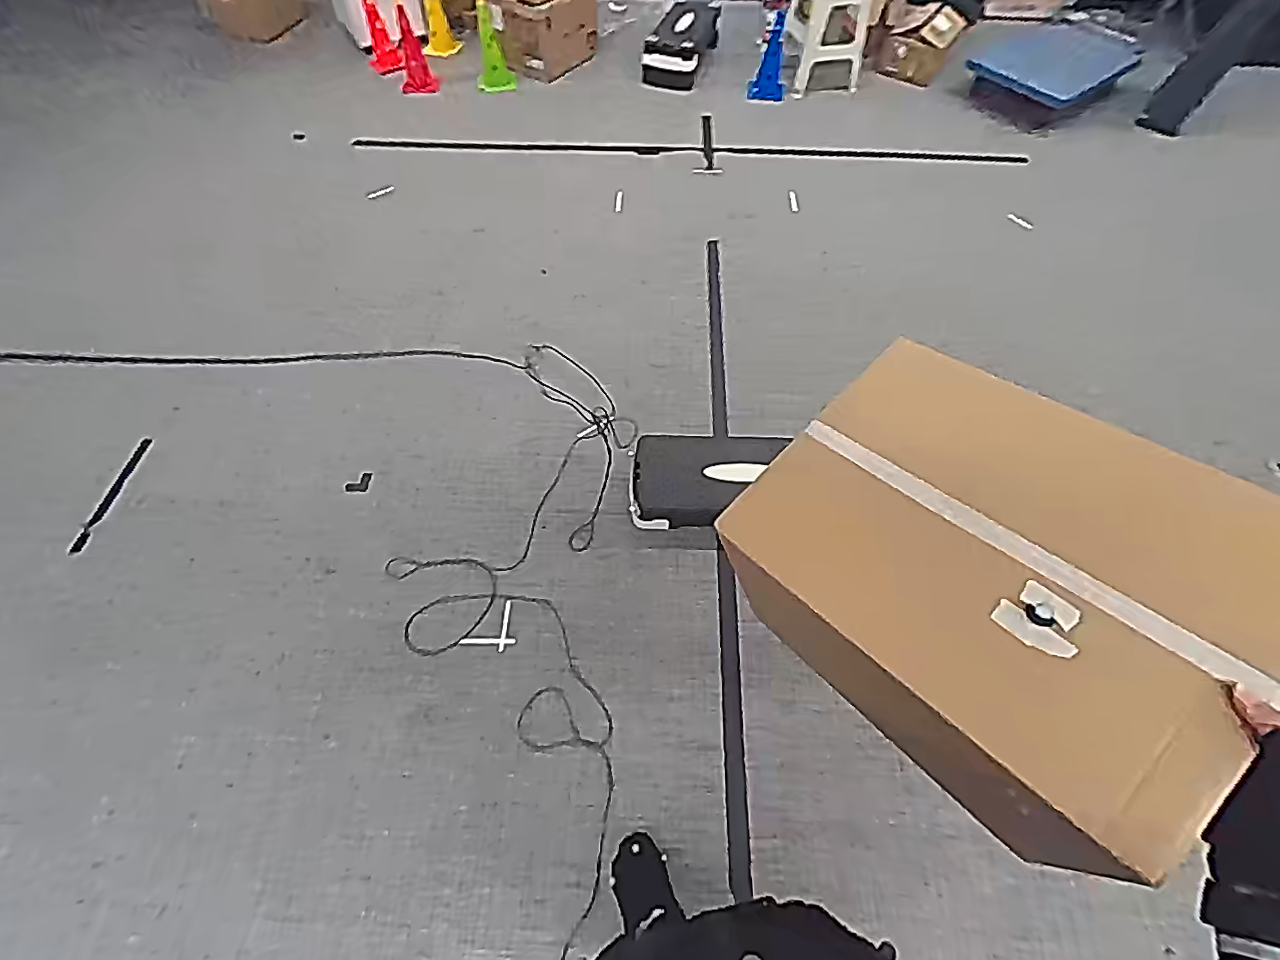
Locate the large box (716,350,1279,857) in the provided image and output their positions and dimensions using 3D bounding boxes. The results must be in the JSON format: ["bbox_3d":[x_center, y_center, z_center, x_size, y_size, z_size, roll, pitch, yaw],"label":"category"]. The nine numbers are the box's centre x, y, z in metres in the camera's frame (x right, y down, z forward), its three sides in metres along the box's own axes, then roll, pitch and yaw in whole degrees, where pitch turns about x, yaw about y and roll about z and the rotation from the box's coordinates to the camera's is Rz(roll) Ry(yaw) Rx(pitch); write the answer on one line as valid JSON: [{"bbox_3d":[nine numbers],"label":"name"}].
[{"bbox_3d":[0.355,0.125,0.618,0.320,0.320,0.408,-44,55,-9],"label":"large box"}]
